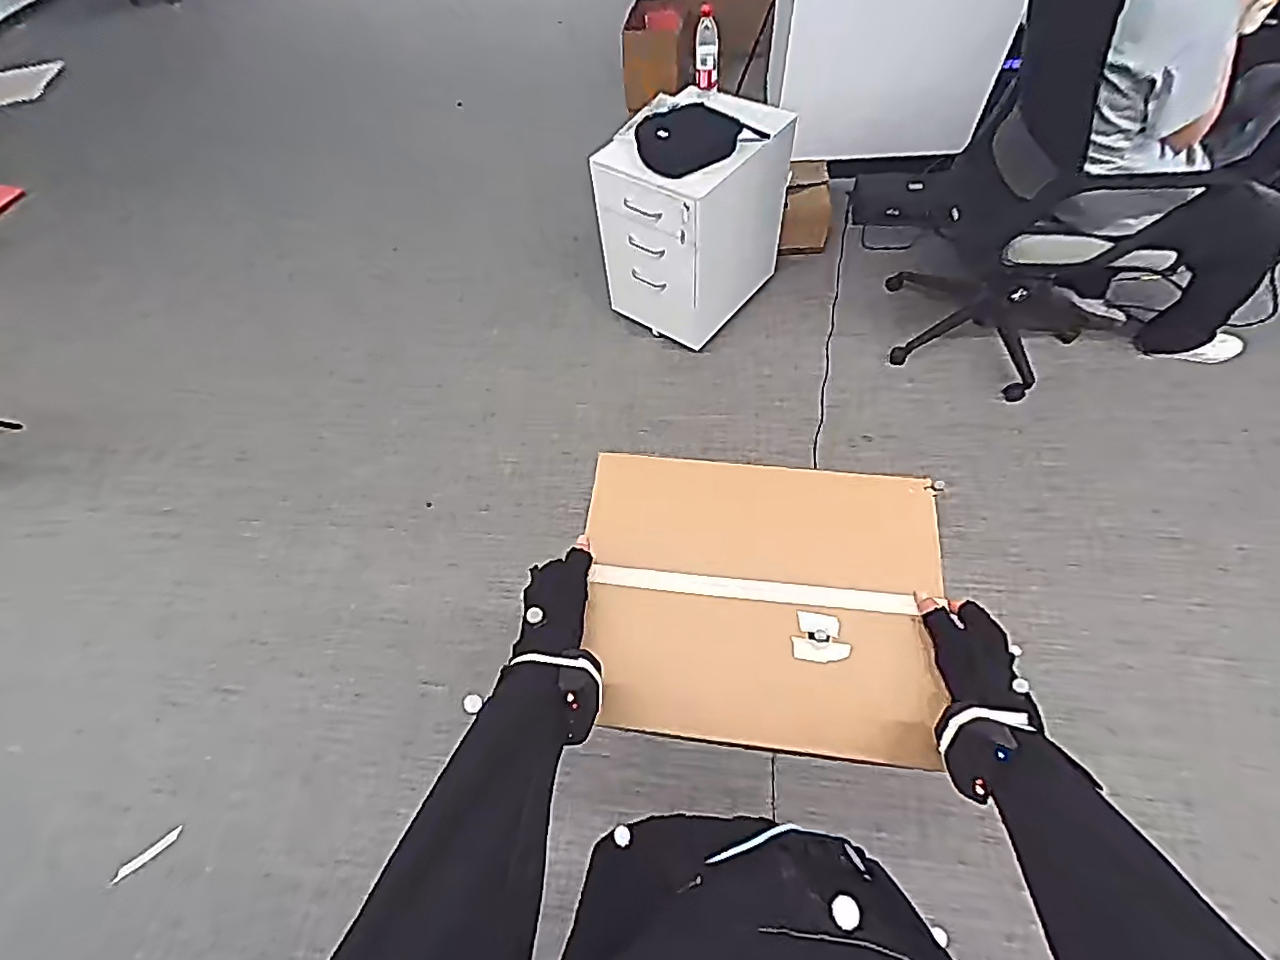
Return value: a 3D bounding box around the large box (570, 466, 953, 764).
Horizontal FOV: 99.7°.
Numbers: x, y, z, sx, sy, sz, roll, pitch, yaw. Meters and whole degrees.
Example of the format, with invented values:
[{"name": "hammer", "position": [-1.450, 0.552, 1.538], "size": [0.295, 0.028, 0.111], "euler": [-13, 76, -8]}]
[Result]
[{"name": "large box", "position": [0.140, 0.197, 0.756], "size": [0.408, 0.320, 0.320], "euler": [5, 66, 5]}]
